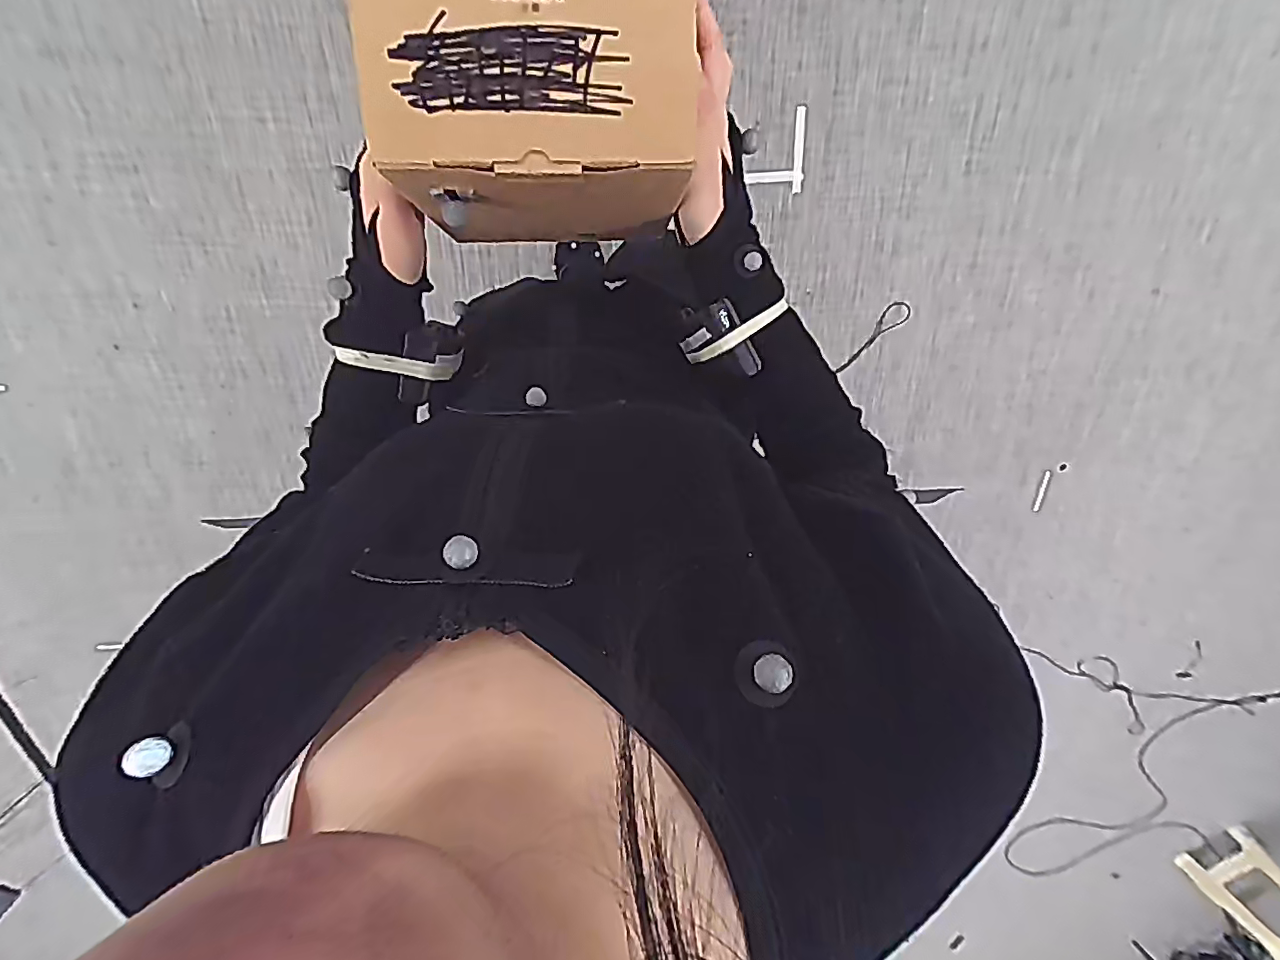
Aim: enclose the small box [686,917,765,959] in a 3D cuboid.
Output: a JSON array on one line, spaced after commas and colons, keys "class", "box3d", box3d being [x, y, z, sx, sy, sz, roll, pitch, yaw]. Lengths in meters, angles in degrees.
[{"class": "small box", "box3d": [0.198, 1.125, 1.209, 0.168, 0.176, 0.179, -5, 115, -4]}]
